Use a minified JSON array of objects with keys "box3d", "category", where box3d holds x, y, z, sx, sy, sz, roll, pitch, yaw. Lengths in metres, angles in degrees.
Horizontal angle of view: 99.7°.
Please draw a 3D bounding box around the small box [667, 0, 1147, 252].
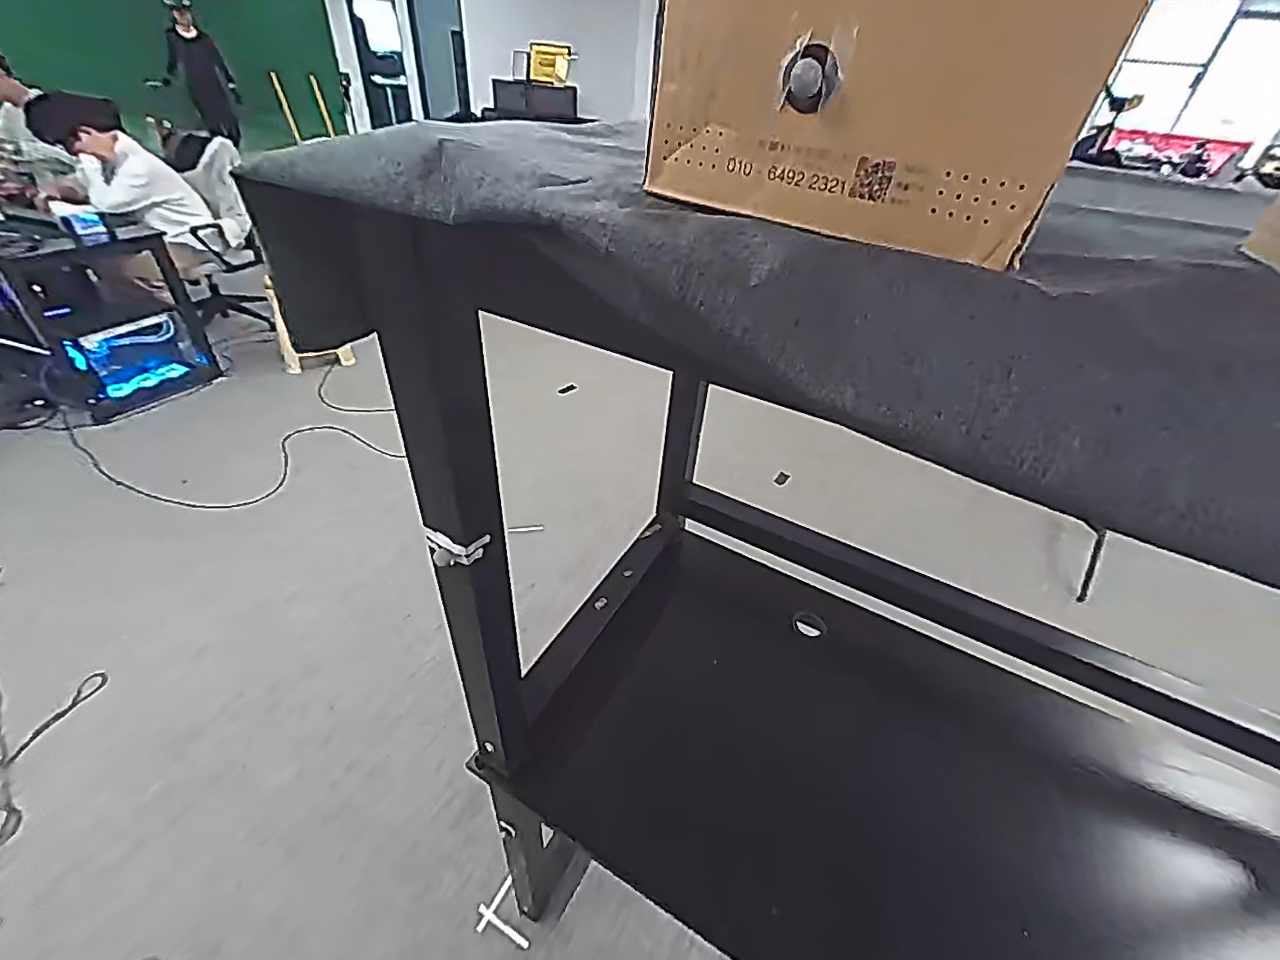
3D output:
[{"box3d":[0.124,-0.222,0.248,0.168,0.176,0.179,23,40,19],"category":"small box"}]
